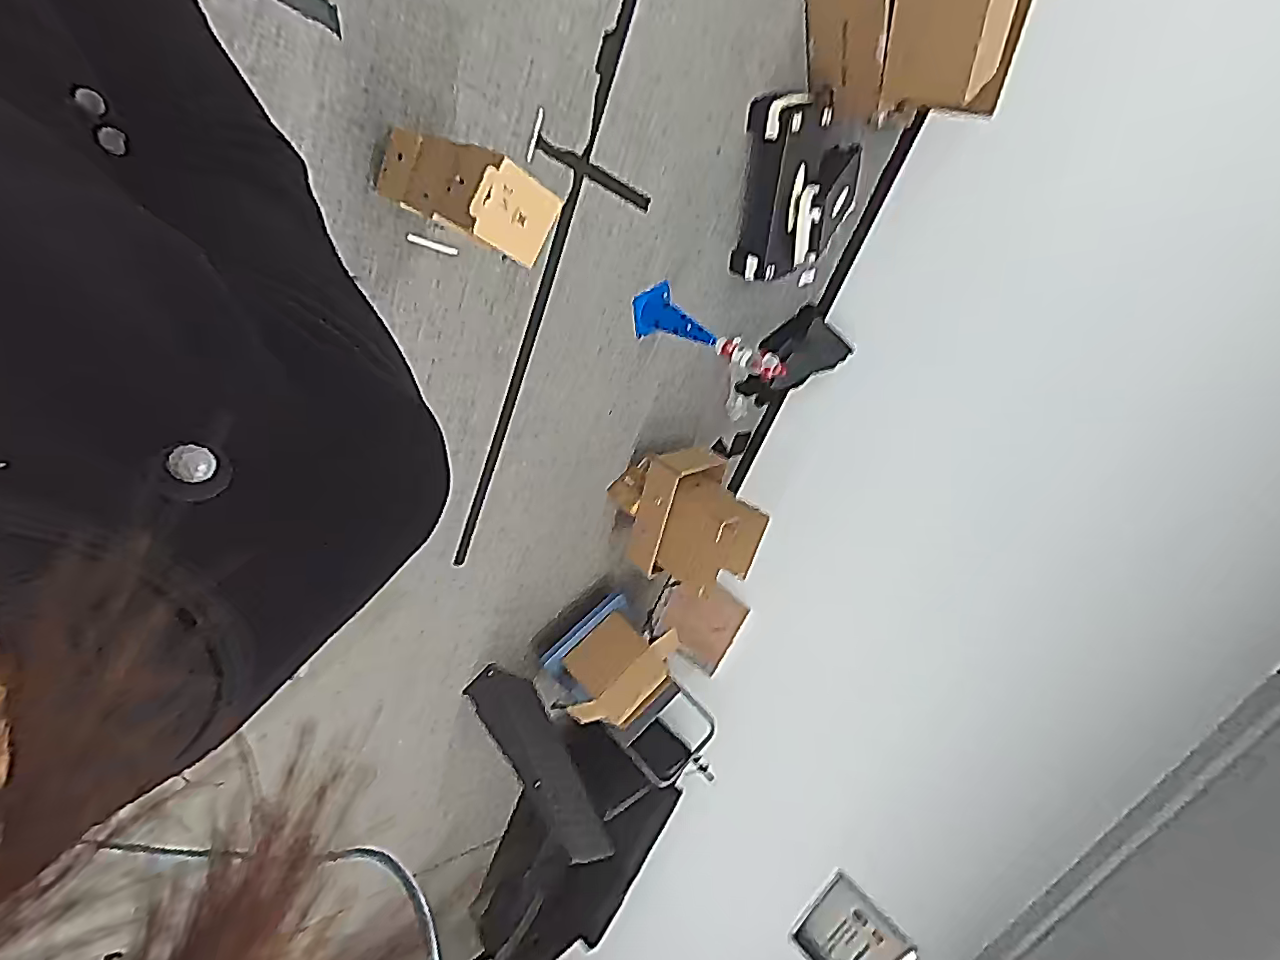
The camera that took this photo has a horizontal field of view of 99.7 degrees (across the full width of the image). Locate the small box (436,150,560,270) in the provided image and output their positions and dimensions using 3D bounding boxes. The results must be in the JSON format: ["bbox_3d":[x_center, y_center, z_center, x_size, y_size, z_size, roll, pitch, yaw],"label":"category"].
[{"bbox_3d":[-0.321,-0.607,1.215,0.179,0.176,0.168,13,110,-54],"label":"small box"}]

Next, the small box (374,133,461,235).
[{"bbox_3d":[-0.553,-0.763,1.392,0.179,0.176,0.168,3,118,-52],"label":"small box"}]
